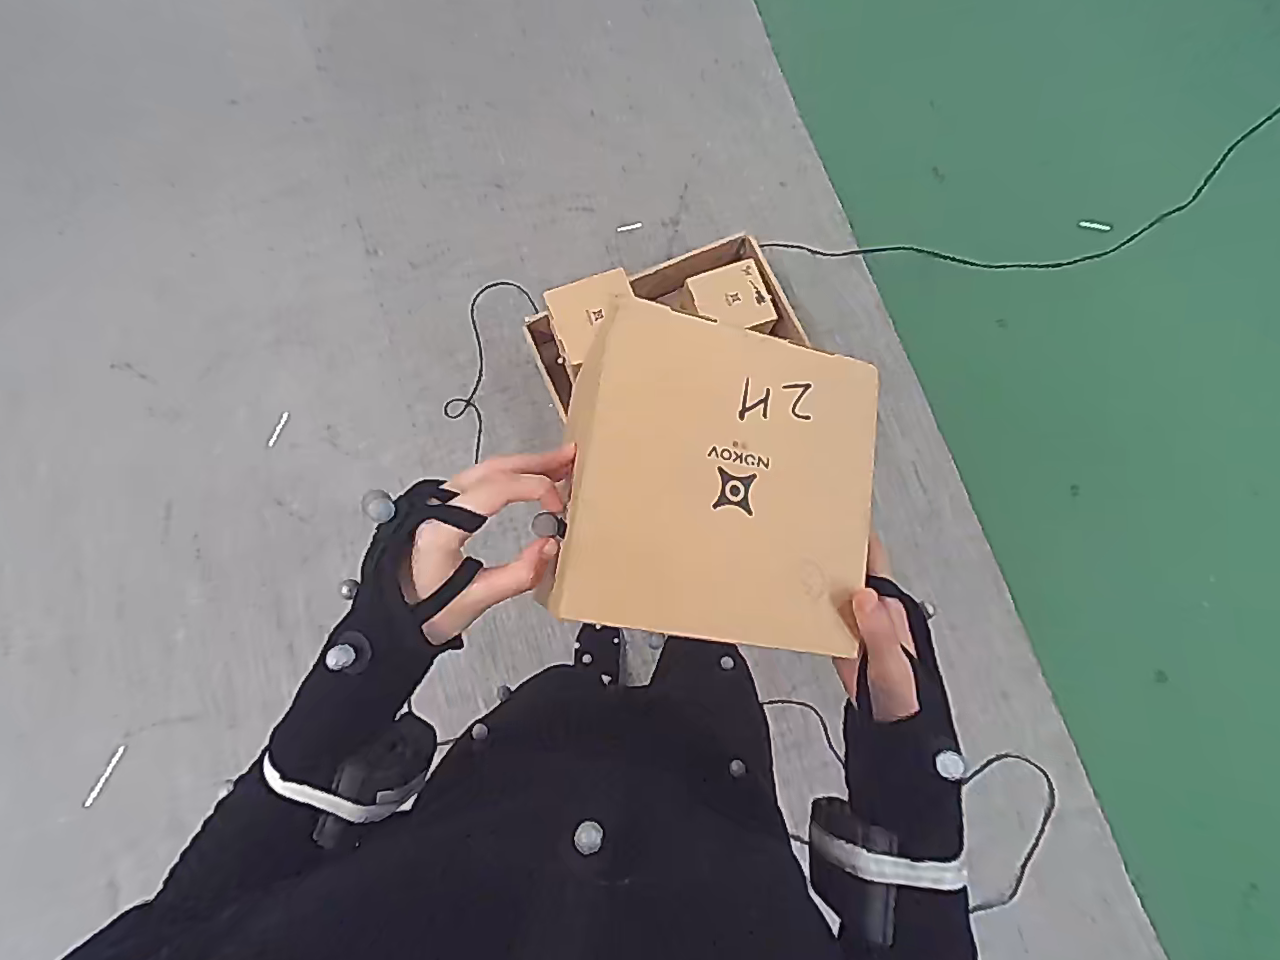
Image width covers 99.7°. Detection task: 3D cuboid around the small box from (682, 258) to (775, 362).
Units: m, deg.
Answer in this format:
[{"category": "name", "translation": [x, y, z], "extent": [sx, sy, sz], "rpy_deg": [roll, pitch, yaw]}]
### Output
[{"category": "small box", "translation": [0.212, -0.418, 1.353], "extent": [0.179, 0.176, 0.168], "rpy_deg": [-19, 82, -5]}]

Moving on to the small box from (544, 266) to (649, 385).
[{"category": "small box", "translation": [-0.091, -0.321, 1.160], "extent": [0.179, 0.176, 0.168], "rpy_deg": [-19, 84, -7]}]
